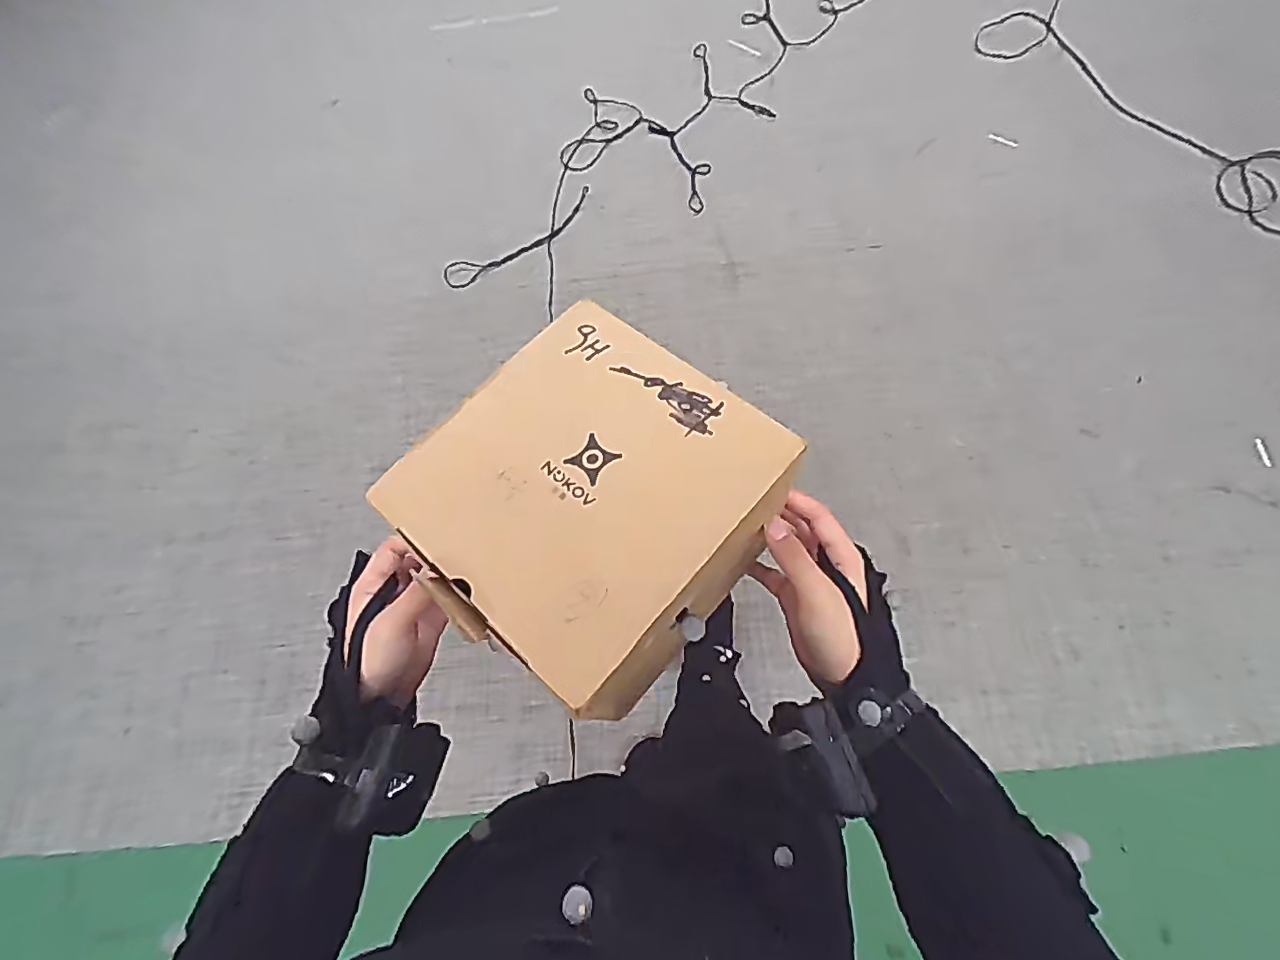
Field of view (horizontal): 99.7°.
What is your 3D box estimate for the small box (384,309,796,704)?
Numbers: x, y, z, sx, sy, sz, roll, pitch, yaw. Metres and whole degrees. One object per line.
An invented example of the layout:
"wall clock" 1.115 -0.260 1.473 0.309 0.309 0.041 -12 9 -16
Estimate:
"small box" -0.021 0.031 0.367 0.168 0.176 0.179 38 75 20
